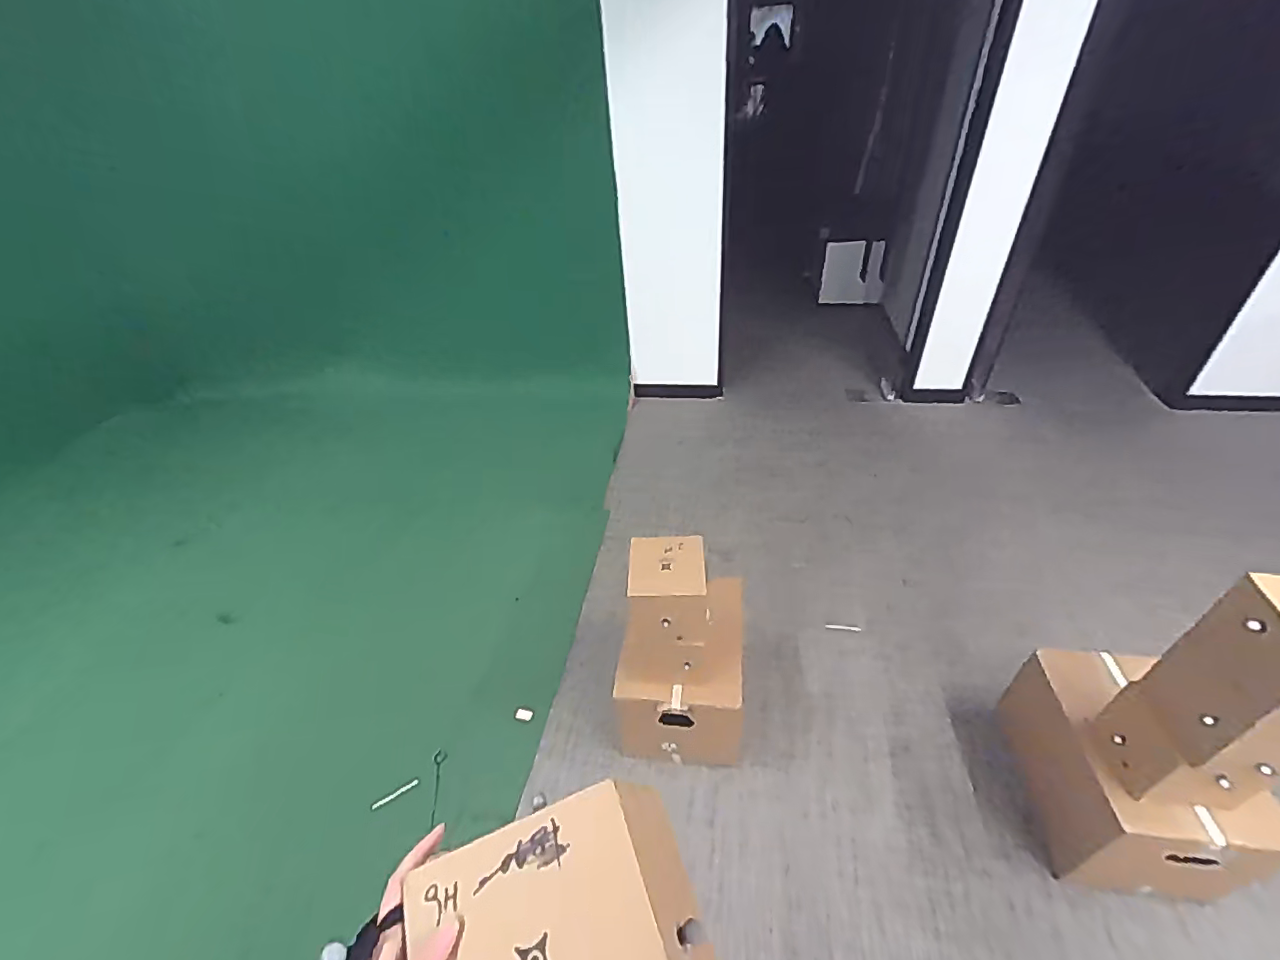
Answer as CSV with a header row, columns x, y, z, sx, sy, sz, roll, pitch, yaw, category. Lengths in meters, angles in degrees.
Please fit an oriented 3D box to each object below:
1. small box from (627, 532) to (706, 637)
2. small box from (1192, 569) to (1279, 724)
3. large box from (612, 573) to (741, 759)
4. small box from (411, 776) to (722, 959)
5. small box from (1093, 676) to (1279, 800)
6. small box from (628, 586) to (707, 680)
x,y,z,sx,sy,sz,roll,pitch,yaw,category
0.064,0.239,1.223,0.168,0.176,0.179,-1,38,4,small box
1.037,0.264,0.841,0.168,0.176,0.179,2,42,10,small box
0.118,0.514,1.527,0.320,0.320,0.408,2,39,8,large box
-0.042,0.346,0.406,0.168,0.176,0.179,-24,57,-1,small box
1.057,0.508,1.061,0.179,0.176,0.168,0,40,8,small box
0.075,0.370,1.322,0.179,0.176,0.168,0,39,8,small box
